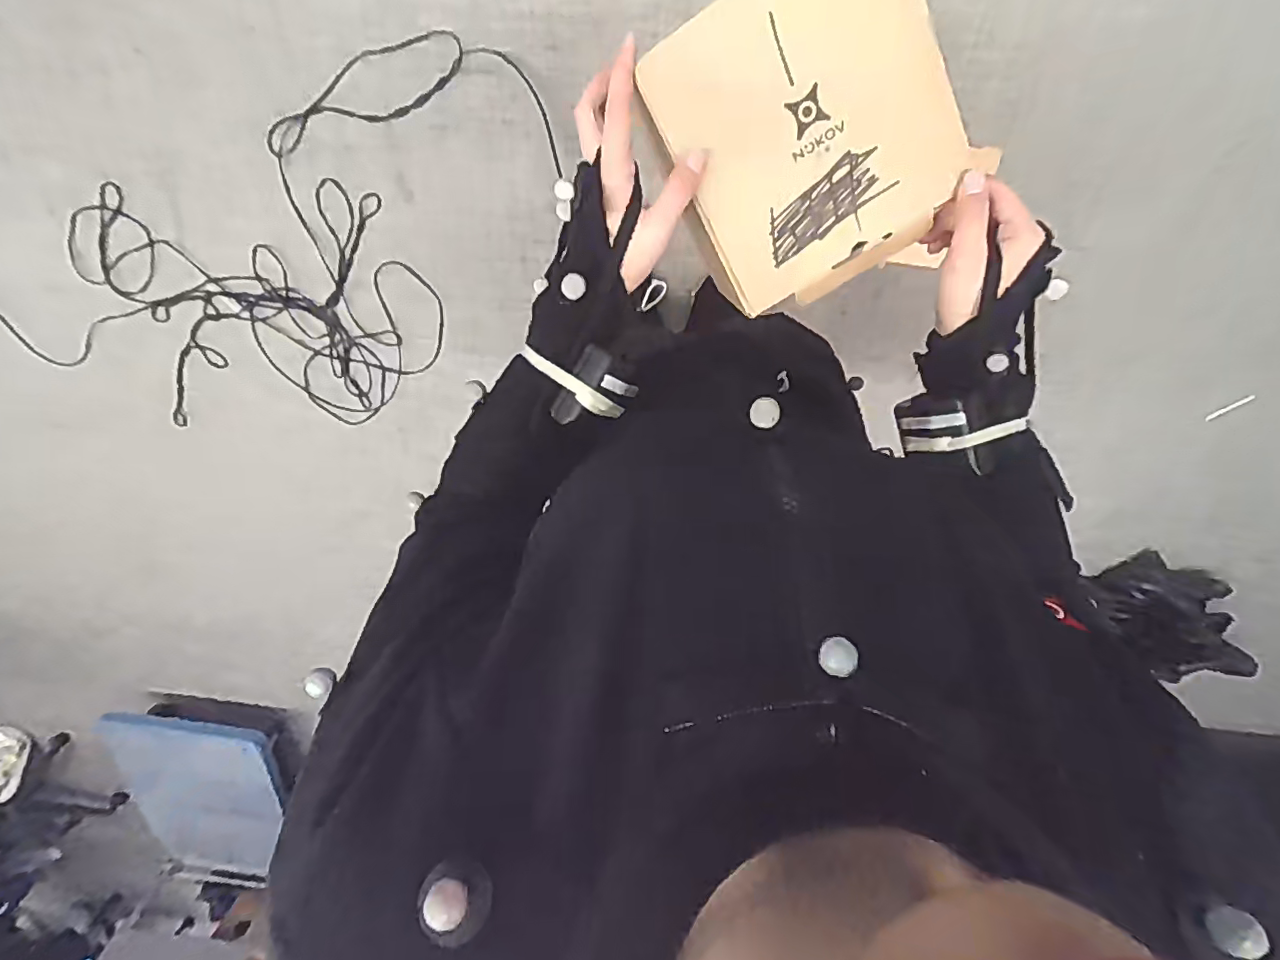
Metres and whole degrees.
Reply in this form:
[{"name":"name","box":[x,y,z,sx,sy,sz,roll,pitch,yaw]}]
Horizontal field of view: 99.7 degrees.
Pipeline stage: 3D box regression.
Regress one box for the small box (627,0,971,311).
[{"name":"small box","box":[0.106,-0.259,0.412,0.168,0.176,0.179,-29,112,13]}]

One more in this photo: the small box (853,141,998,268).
[{"name":"small box","box":[0.453,-0.469,0.917,0.168,0.176,0.179,8,116,1]}]
